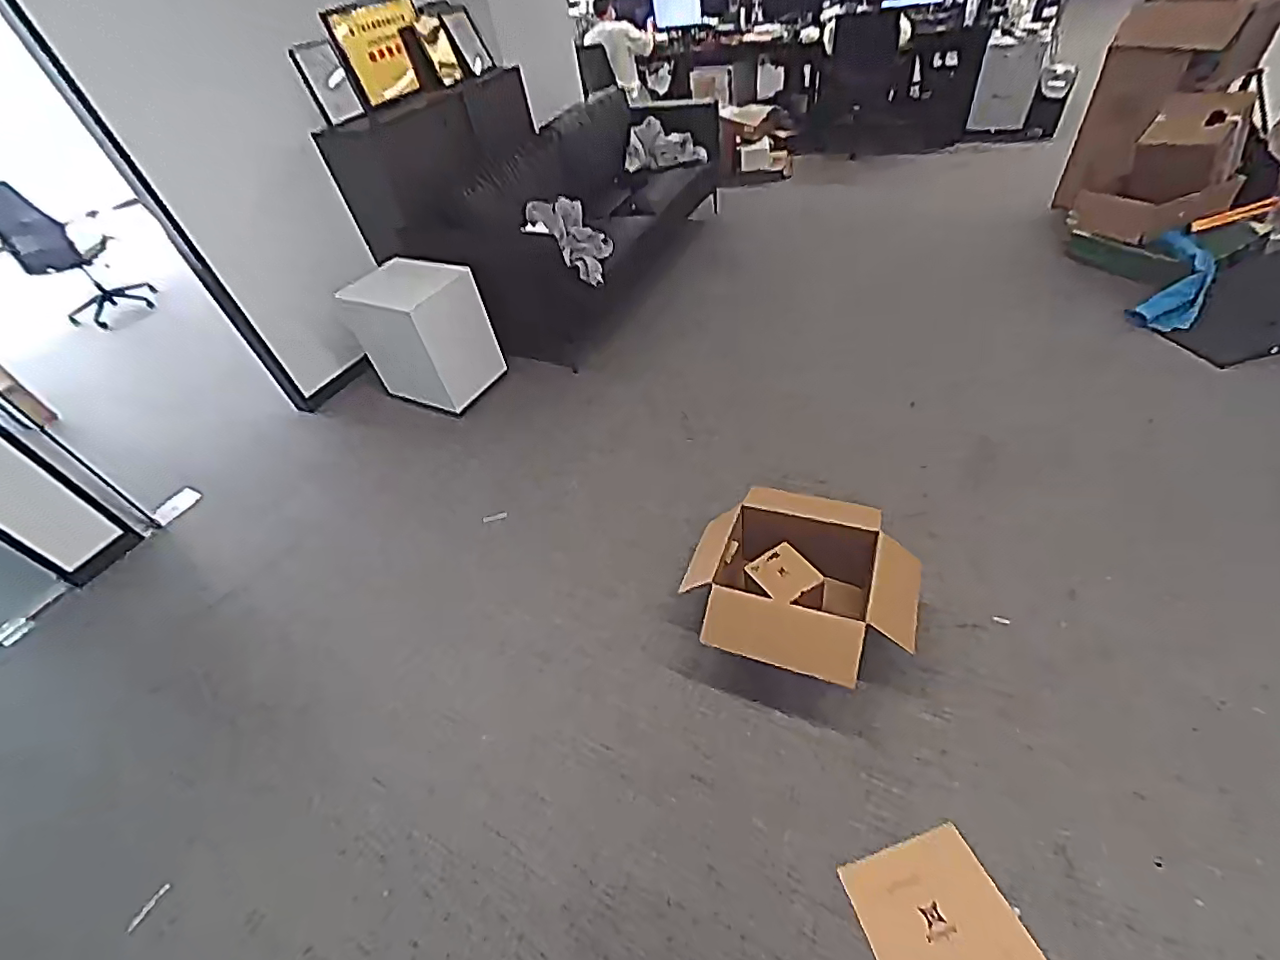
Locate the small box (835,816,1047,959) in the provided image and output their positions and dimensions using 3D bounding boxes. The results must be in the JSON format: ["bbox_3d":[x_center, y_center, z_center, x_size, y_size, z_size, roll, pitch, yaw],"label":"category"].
[{"bbox_3d":[0.374,0.574,0.667,0.168,0.176,0.179,-24,20,1],"label":"small box"}]
